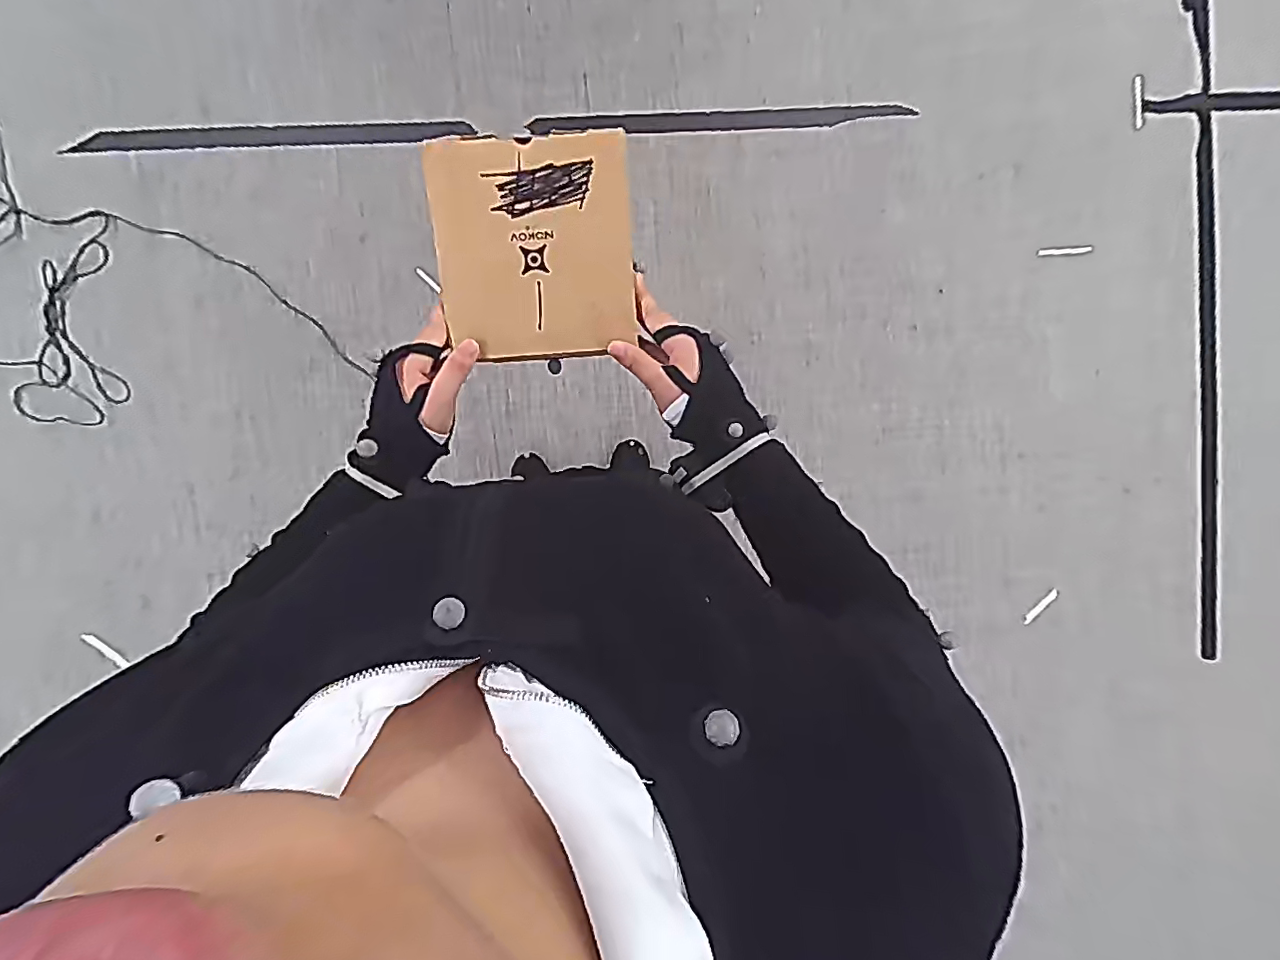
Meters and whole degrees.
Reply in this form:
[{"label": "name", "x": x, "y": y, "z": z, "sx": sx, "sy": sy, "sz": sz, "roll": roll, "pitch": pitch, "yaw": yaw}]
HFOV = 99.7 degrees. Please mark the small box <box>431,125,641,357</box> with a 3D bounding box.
[{"label": "small box", "x": -0.088, "y": -0.217, "z": 0.534, "sx": 0.168, "sy": 0.176, "sz": 0.179, "roll": -4, "pitch": 102, "yaw": -1}]
